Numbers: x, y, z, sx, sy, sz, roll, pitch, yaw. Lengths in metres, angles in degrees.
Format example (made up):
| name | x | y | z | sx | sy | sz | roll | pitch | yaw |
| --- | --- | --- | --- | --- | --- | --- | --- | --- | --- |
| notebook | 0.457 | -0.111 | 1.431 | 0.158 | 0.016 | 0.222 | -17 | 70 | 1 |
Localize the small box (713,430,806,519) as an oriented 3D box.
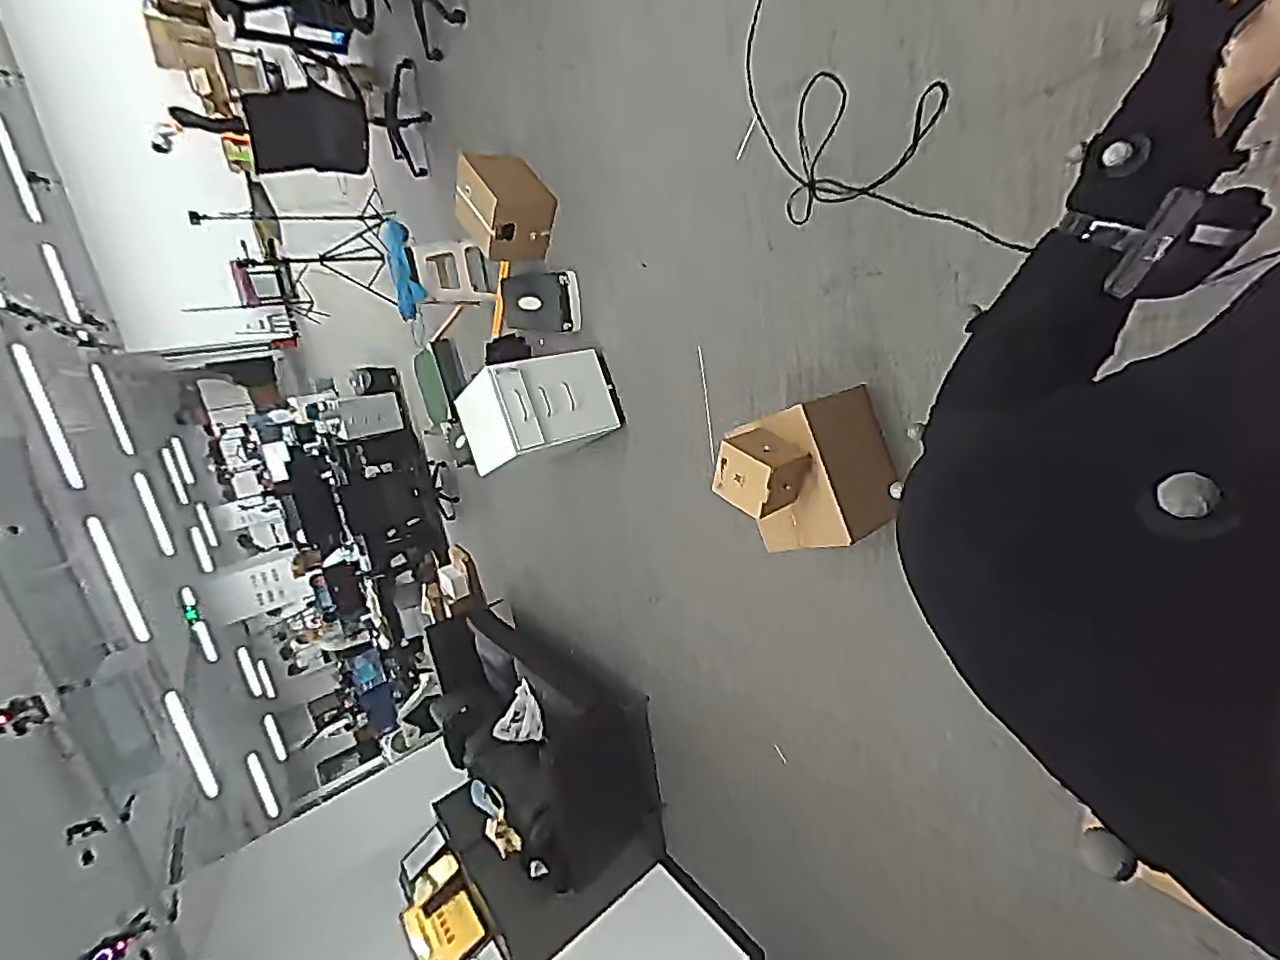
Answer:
| name | x | y | z | sx | sy | sz | roll | pitch | yaw |
| --- | --- | --- | --- | --- | --- | --- | --- | --- | --- |
| small box | 0.333 | -0.024 | 1.501 | 0.179 | 0.176 | 0.168 | 35 | 131 | 37 |
